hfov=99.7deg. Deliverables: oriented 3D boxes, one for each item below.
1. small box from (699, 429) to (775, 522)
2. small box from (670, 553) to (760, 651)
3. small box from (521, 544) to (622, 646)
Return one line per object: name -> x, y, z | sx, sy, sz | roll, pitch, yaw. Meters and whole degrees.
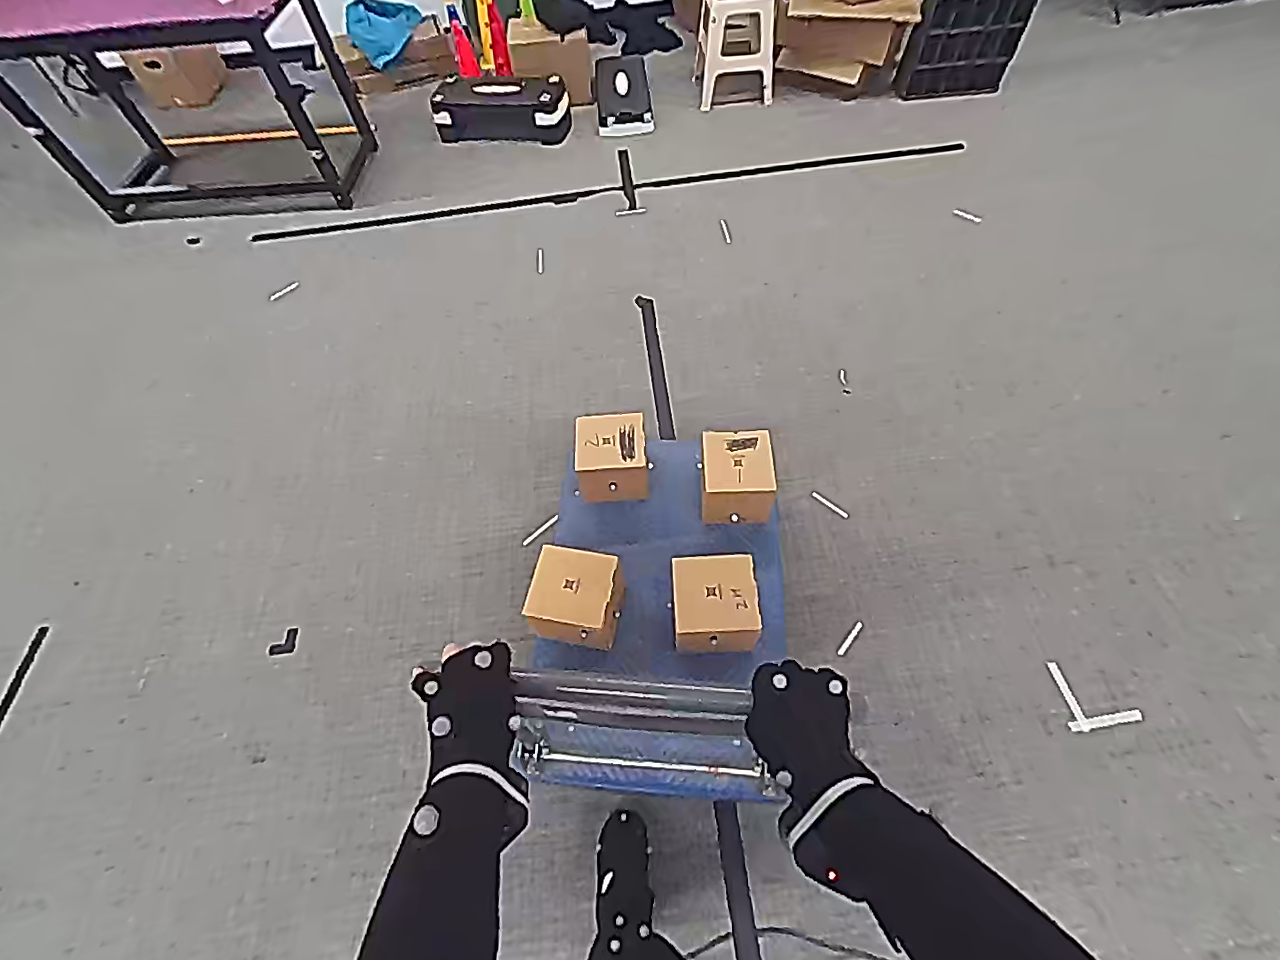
small box -> 0.236, -0.010, 1.357 | 0.168, 0.176, 0.179 | -1, 59, 3
small box -> 0.159, 0.272, 1.189 | 0.179, 0.176, 0.168 | -3, 58, 2
small box -> -0.144, 0.264, 1.218 | 0.179, 0.176, 0.168 | 8, 59, 7
